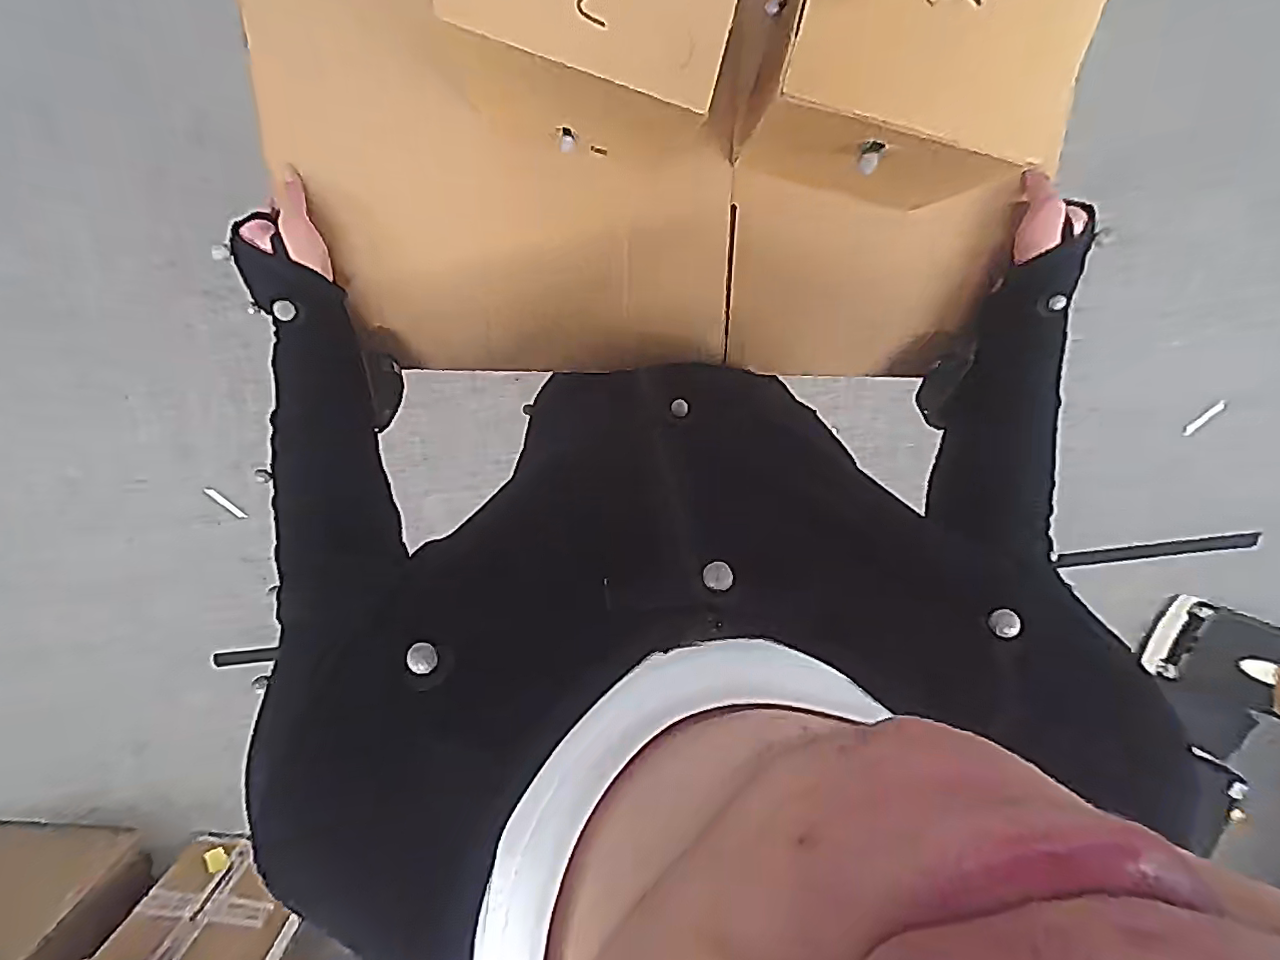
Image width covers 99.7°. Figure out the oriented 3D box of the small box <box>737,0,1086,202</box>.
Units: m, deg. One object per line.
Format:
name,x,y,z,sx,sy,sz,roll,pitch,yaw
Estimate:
small box,0.187,-0.324,0.405,0.179,0.176,0.168,13,107,-3
